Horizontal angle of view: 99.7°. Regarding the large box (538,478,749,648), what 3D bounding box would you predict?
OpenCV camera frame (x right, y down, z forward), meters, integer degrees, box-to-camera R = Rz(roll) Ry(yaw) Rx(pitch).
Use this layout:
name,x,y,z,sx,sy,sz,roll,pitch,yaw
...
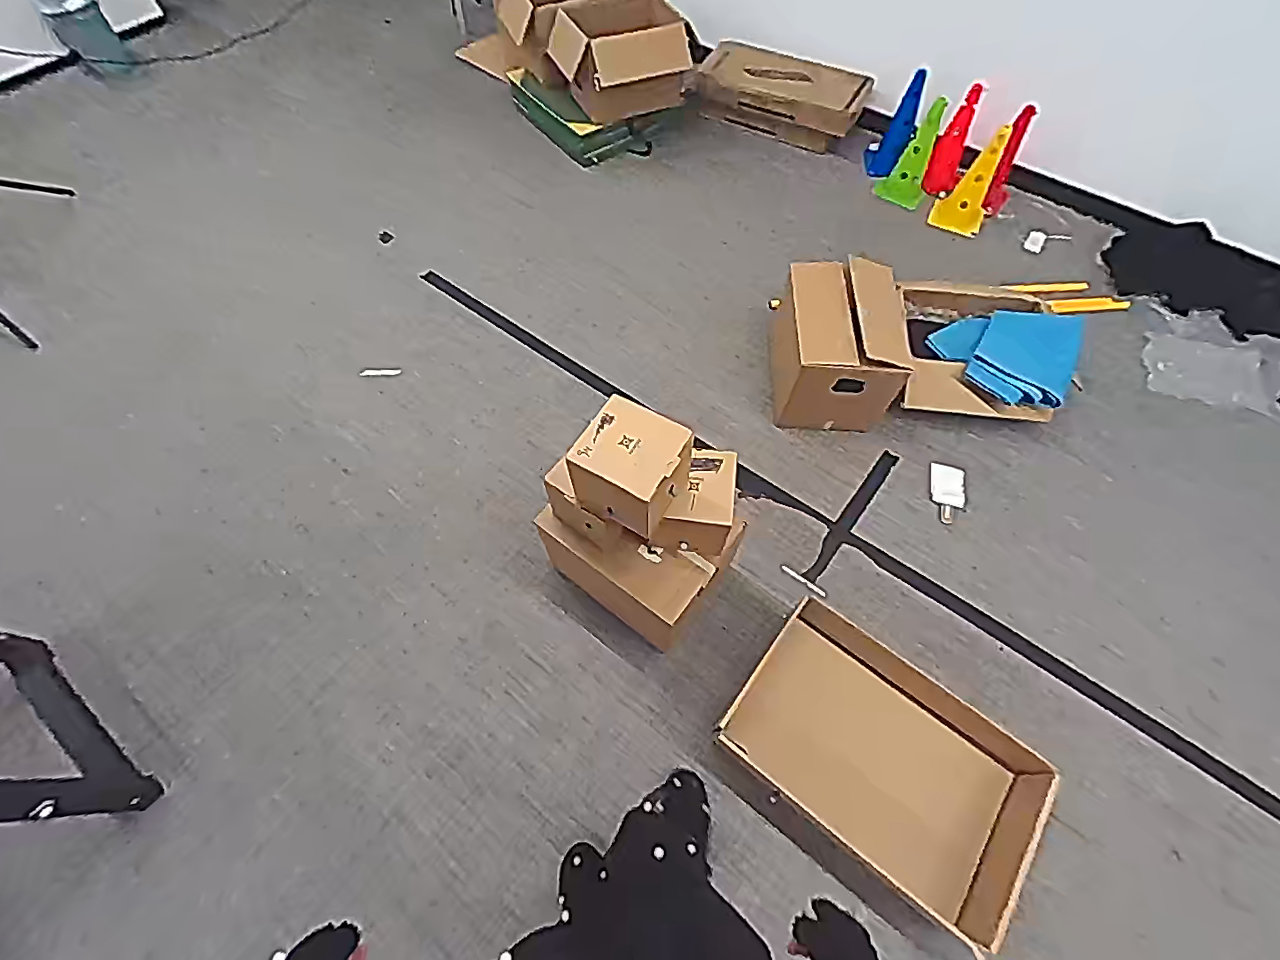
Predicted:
name,x,y,z,sx,sy,sz,roll,pitch,yaw
large box,0.005,0.165,1.389,0.408,0.320,0.320,33,68,15

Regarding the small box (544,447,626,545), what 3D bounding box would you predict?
name,x,y,z,sx,sy,sz,roll,pitch,yaw
small box,-0.086,0.016,1.194,0.168,0.176,0.179,34,66,14

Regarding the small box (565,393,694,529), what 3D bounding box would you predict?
name,x,y,z,sx,sy,sz,roll,pitch,yaw
small box,-0.016,-0.026,1.030,0.179,0.176,0.168,28,66,15
